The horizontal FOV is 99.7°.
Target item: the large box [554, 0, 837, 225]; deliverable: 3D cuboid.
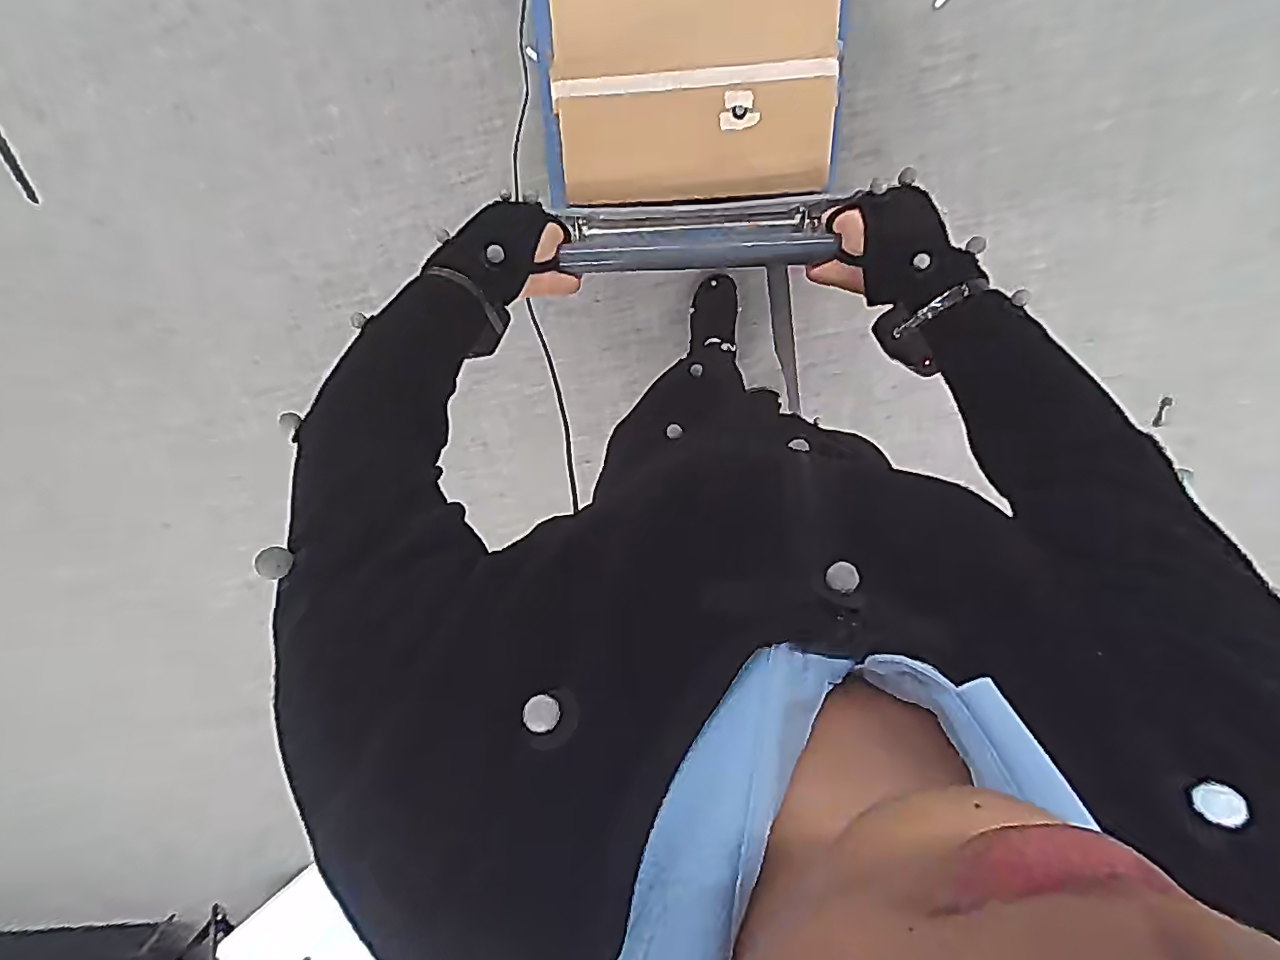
[{"bbox_3d":[0.091,-0.638,0.938,0.408,0.320,0.320,-2,112,5],"label":"large box"}]
